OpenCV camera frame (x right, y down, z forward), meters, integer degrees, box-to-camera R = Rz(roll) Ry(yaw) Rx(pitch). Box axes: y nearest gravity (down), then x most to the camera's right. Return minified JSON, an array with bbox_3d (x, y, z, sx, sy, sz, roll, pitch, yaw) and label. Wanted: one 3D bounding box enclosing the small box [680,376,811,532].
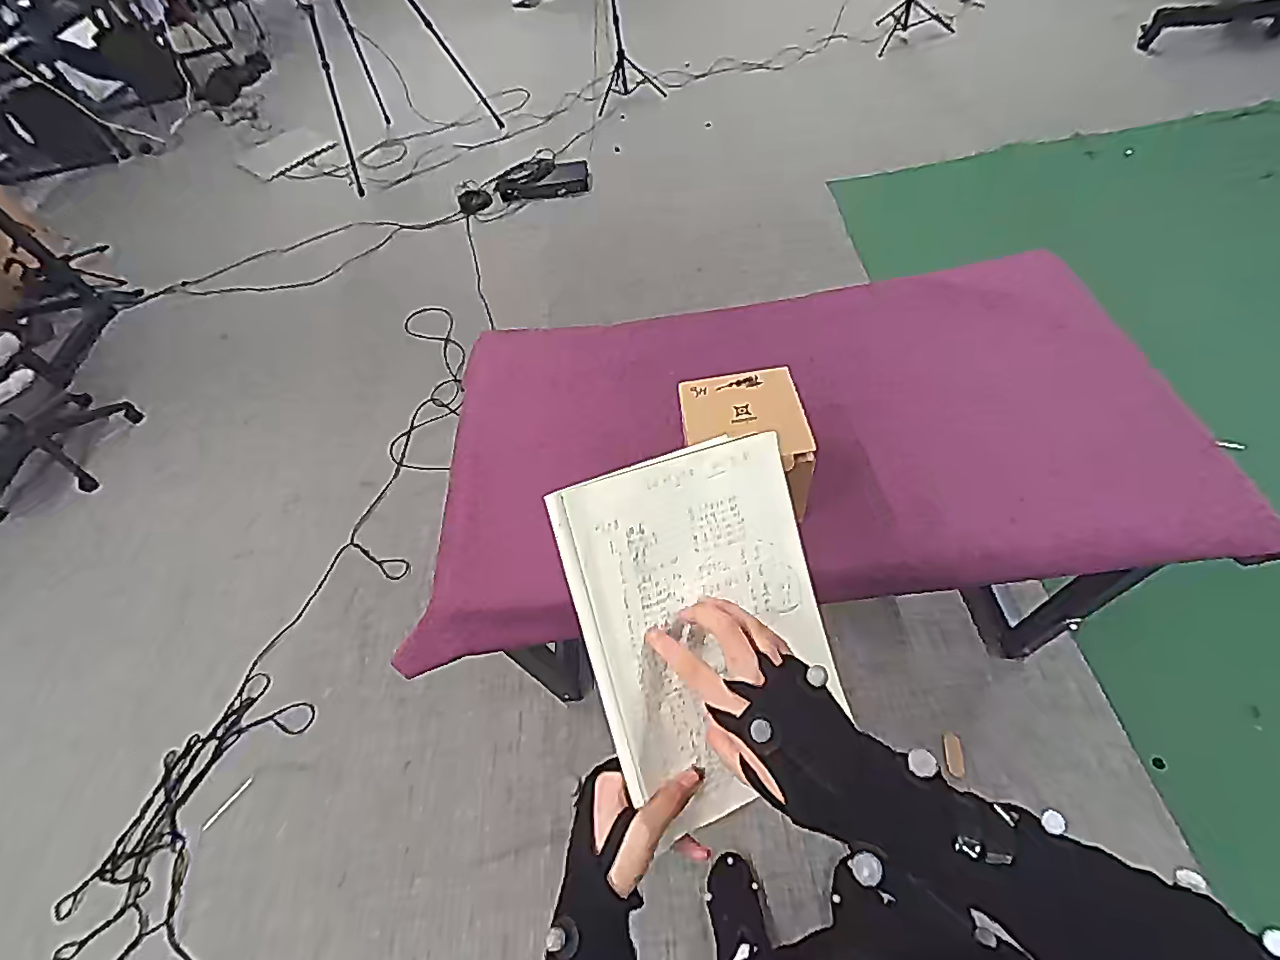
[{"bbox_3d":[0.156,-0.031,0.831,0.168,0.176,0.179,-7,55,5],"label":"small box"}]
